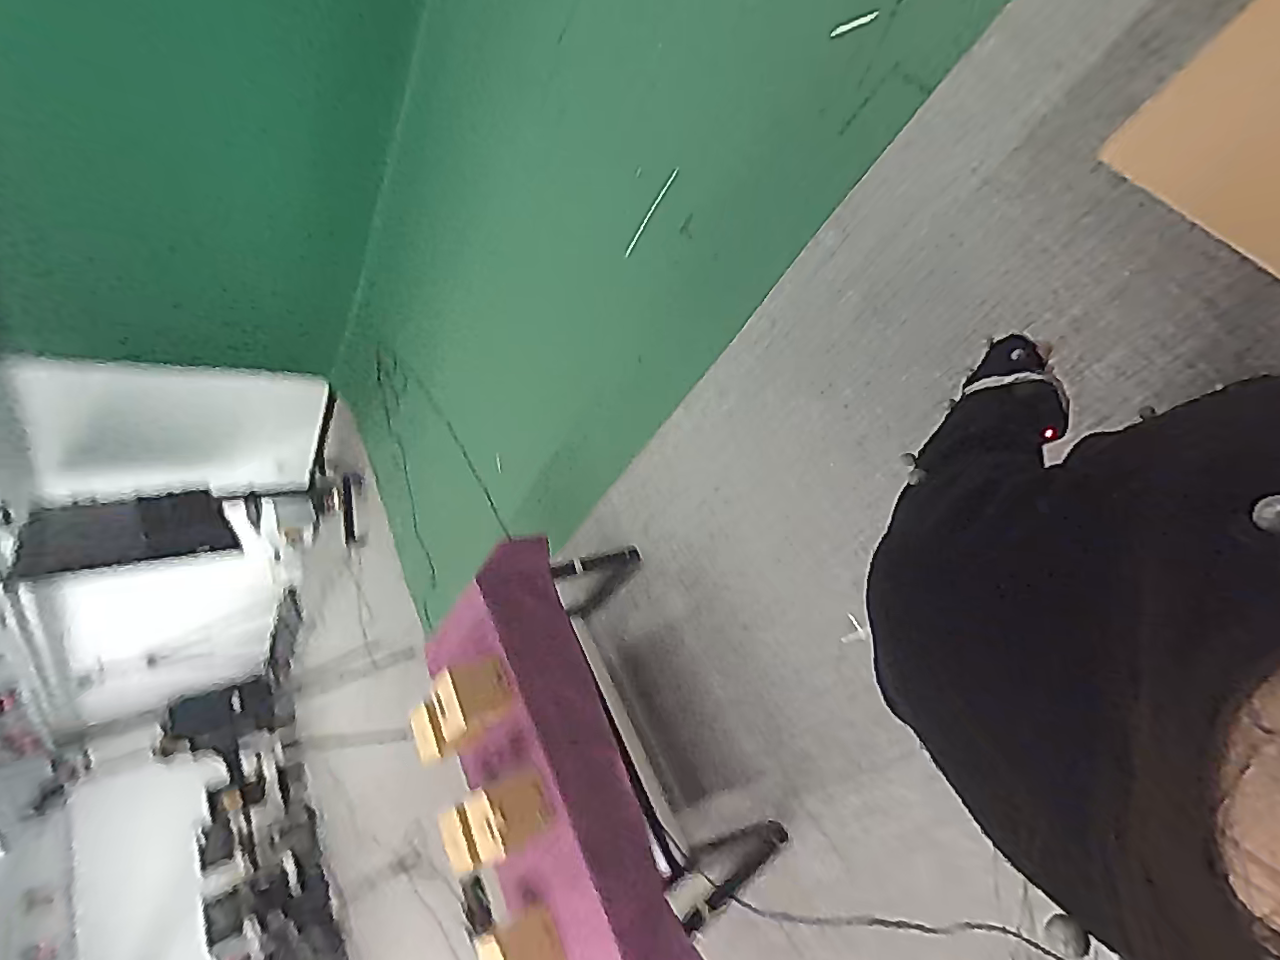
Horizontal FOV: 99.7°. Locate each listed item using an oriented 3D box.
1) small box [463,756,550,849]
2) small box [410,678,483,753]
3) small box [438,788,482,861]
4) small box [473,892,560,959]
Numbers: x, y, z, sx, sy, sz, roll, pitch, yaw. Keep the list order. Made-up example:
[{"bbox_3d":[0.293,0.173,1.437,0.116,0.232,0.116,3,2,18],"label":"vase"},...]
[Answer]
[{"bbox_3d":[-0.380,0.924,1.557,0.179,0.176,0.168,-47,61,40],"label":"small box"},{"bbox_3d":[-0.654,0.795,1.837,0.179,0.176,0.168,-45,63,40],"label":"small box"},{"bbox_3d":[-0.513,1.065,1.714,0.168,0.176,0.179,-44,62,39],"label":"small box"},{"bbox_3d":[-0.360,1.342,1.576,0.179,0.176,0.168,-47,61,39],"label":"small box"}]
